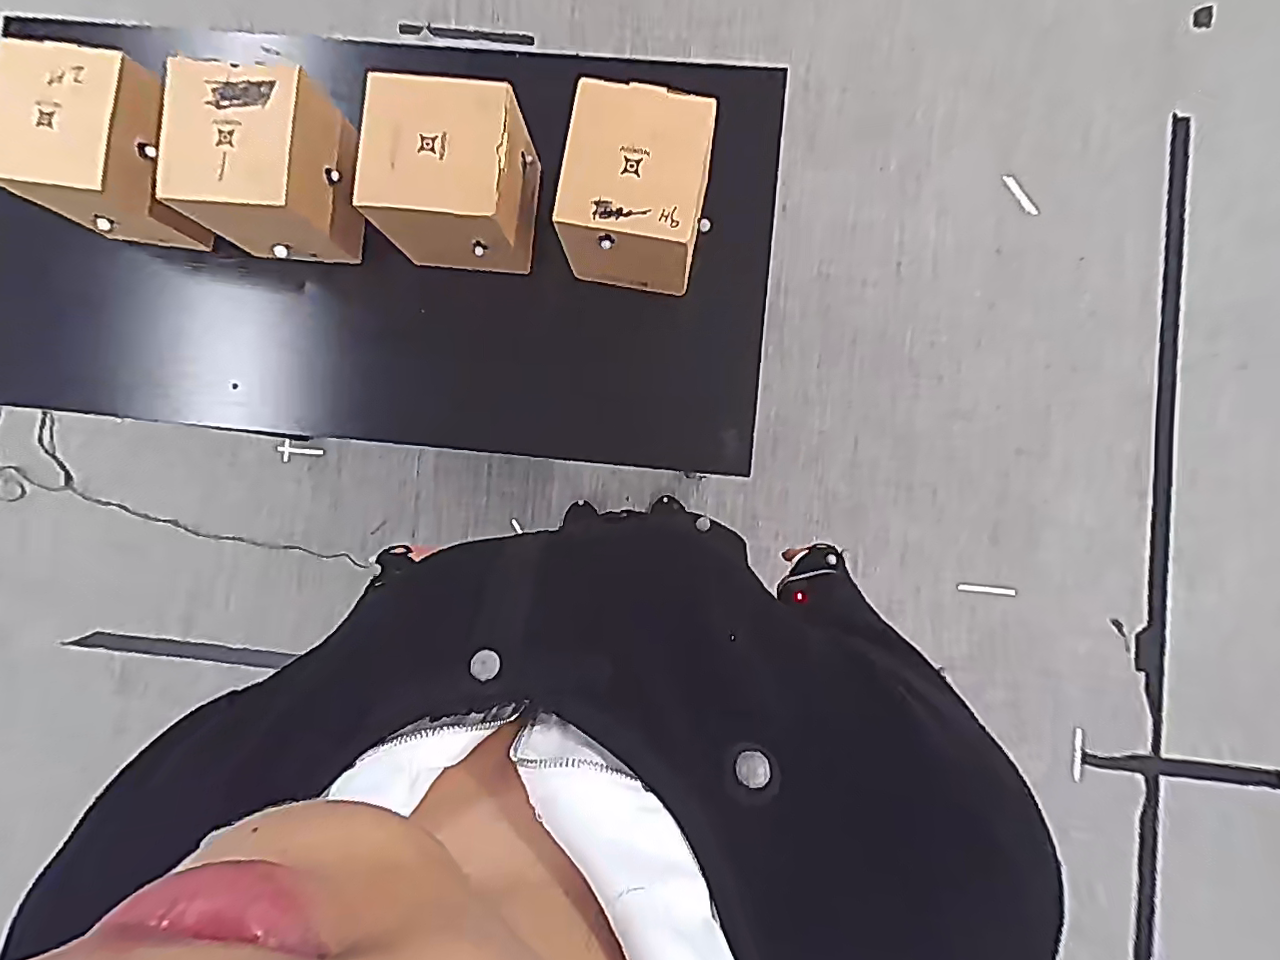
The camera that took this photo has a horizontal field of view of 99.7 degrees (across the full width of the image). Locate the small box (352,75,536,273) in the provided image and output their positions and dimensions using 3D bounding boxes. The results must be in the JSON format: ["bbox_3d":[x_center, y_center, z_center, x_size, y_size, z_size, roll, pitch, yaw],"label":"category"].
[{"bbox_3d":[-0.246,-0.393,0.723,0.179,0.176,0.168,5,87,3],"label":"small box"}]

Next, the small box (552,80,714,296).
[{"bbox_3d":[-0.006,-0.369,0.711,0.168,0.176,0.179,11,88,3],"label":"small box"}]

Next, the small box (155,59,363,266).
[{"bbox_3d":[-0.494,-0.414,0.730,0.168,0.176,0.179,4,90,1],"label":"small box"}]

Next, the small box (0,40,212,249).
[{"bbox_3d":[-0.716,-0.441,0.739,0.168,0.176,0.179,8,88,1],"label":"small box"}]
